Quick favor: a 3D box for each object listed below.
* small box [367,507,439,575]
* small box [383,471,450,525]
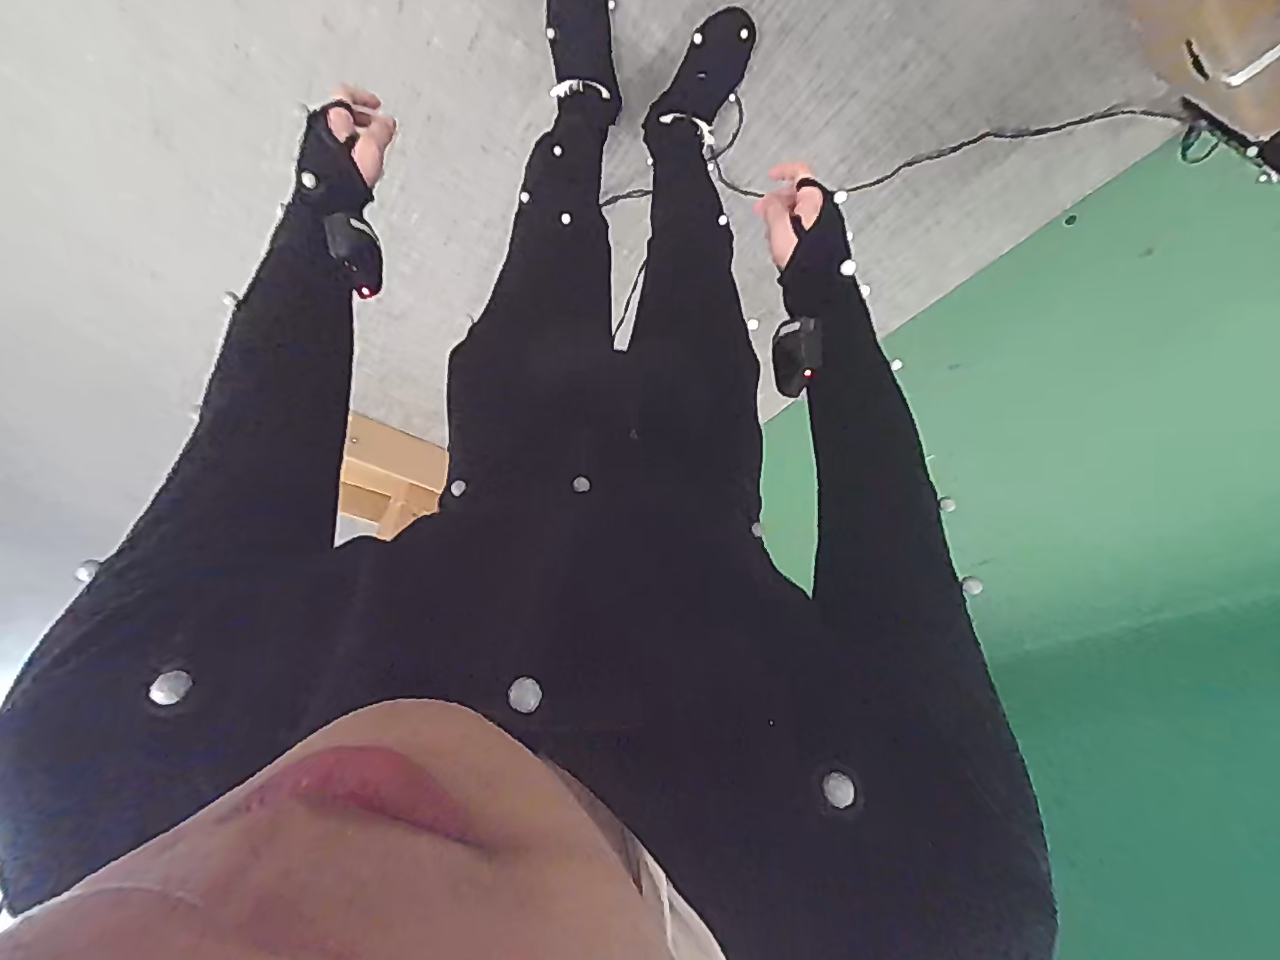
[{"bbox_3d":[-0.882,0.228,2.027,0.179,0.176,0.168,-30,132,34],"label":"small box"},{"bbox_3d":[-0.872,0.098,2.124,0.168,0.176,0.179,31,133,-30],"label":"small box"}]
